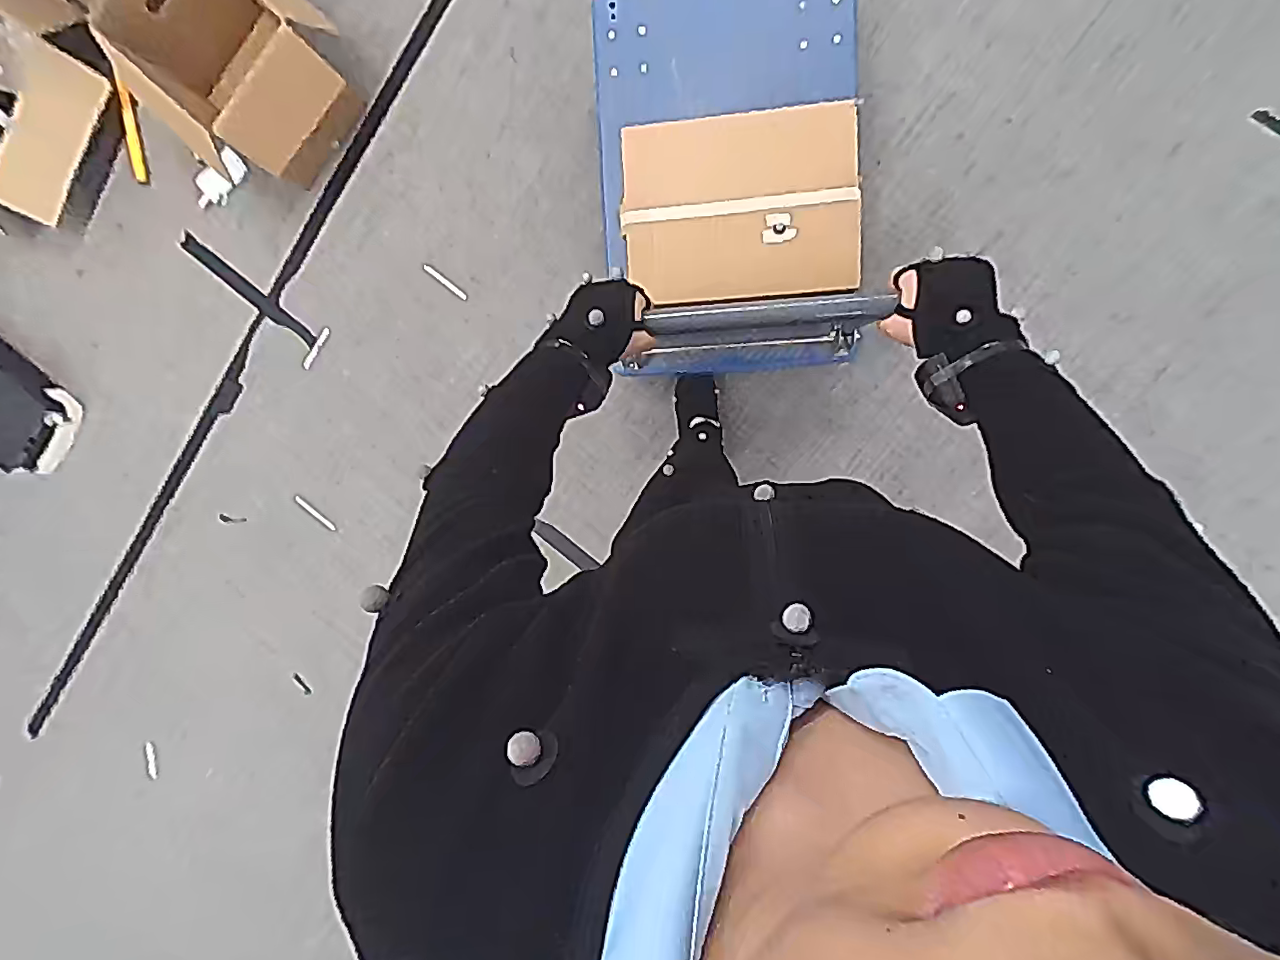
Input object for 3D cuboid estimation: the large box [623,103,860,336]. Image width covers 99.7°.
[{"bbox_3d":[0.191,-0.490,1.099,0.408,0.320,0.320,-3,95,6],"label":"large box"}]
